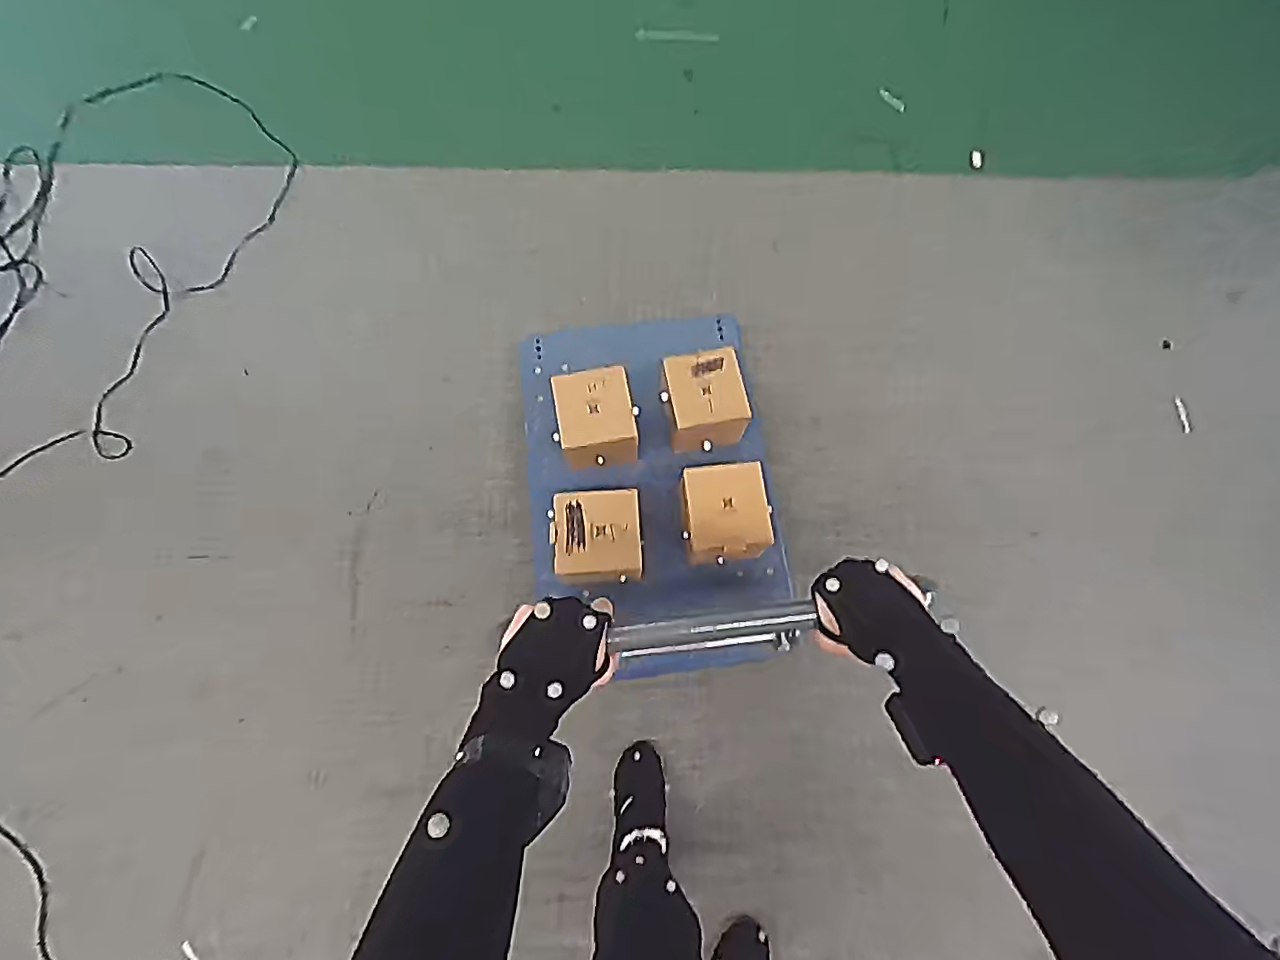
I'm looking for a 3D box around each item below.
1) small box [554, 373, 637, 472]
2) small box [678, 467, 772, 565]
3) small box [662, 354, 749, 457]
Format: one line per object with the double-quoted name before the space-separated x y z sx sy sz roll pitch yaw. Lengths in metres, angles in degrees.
"small box" -0.100 -0.126 1.271 0.168 0.176 0.179 -10 72 -4
"small box" 0.181 0.084 1.205 0.168 0.176 0.179 -6 72 -3
"small box" 0.147 -0.172 1.286 0.168 0.176 0.179 -10 73 -3
